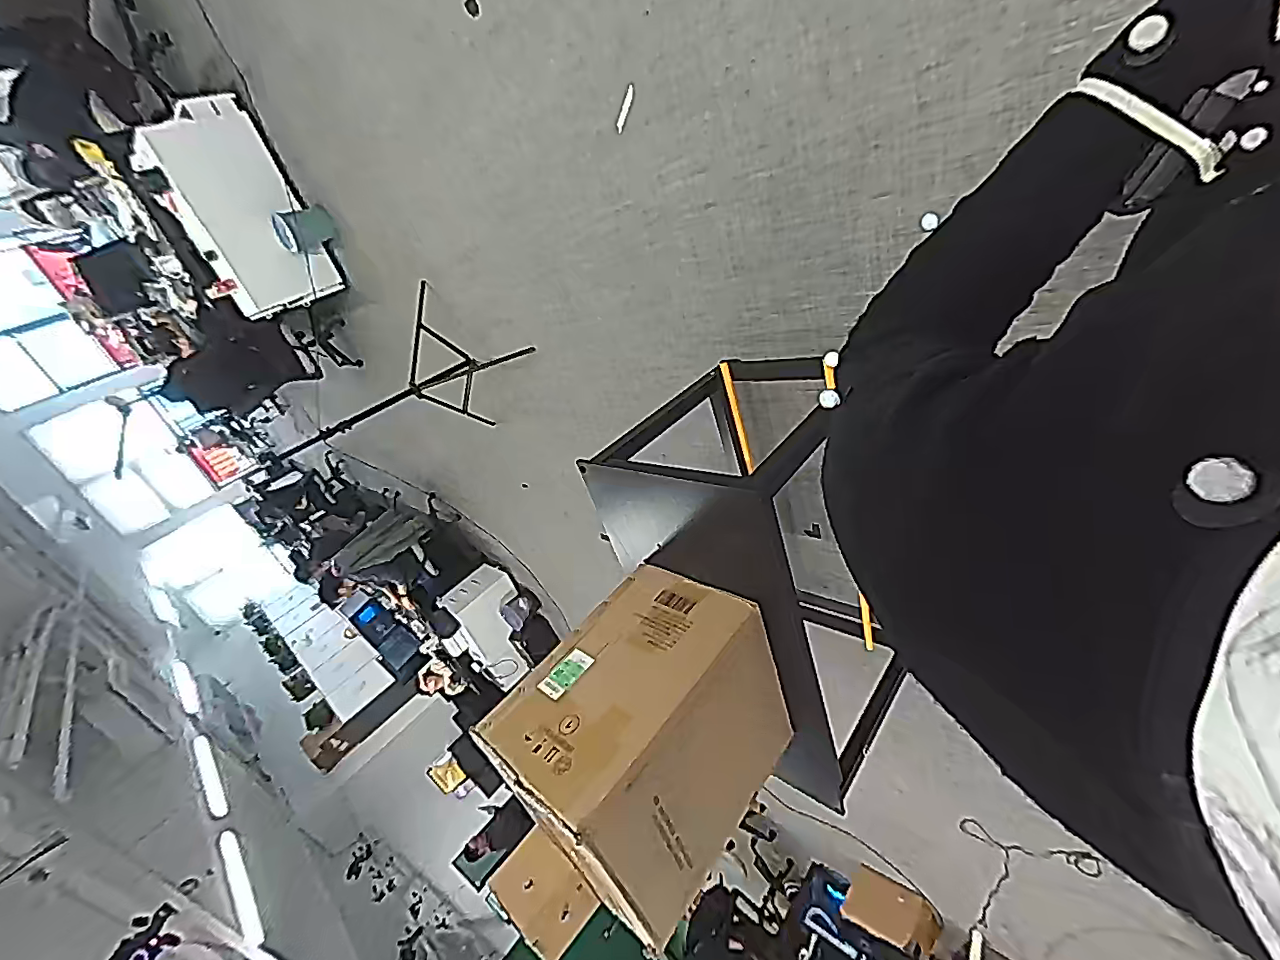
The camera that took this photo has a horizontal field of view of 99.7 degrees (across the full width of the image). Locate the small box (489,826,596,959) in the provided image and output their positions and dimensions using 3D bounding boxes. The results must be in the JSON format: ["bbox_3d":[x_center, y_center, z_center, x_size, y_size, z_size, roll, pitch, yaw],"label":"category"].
[{"bbox_3d":[-0.229,0.999,1.320,0.179,0.176,0.168,8,128,48],"label":"small box"}]
